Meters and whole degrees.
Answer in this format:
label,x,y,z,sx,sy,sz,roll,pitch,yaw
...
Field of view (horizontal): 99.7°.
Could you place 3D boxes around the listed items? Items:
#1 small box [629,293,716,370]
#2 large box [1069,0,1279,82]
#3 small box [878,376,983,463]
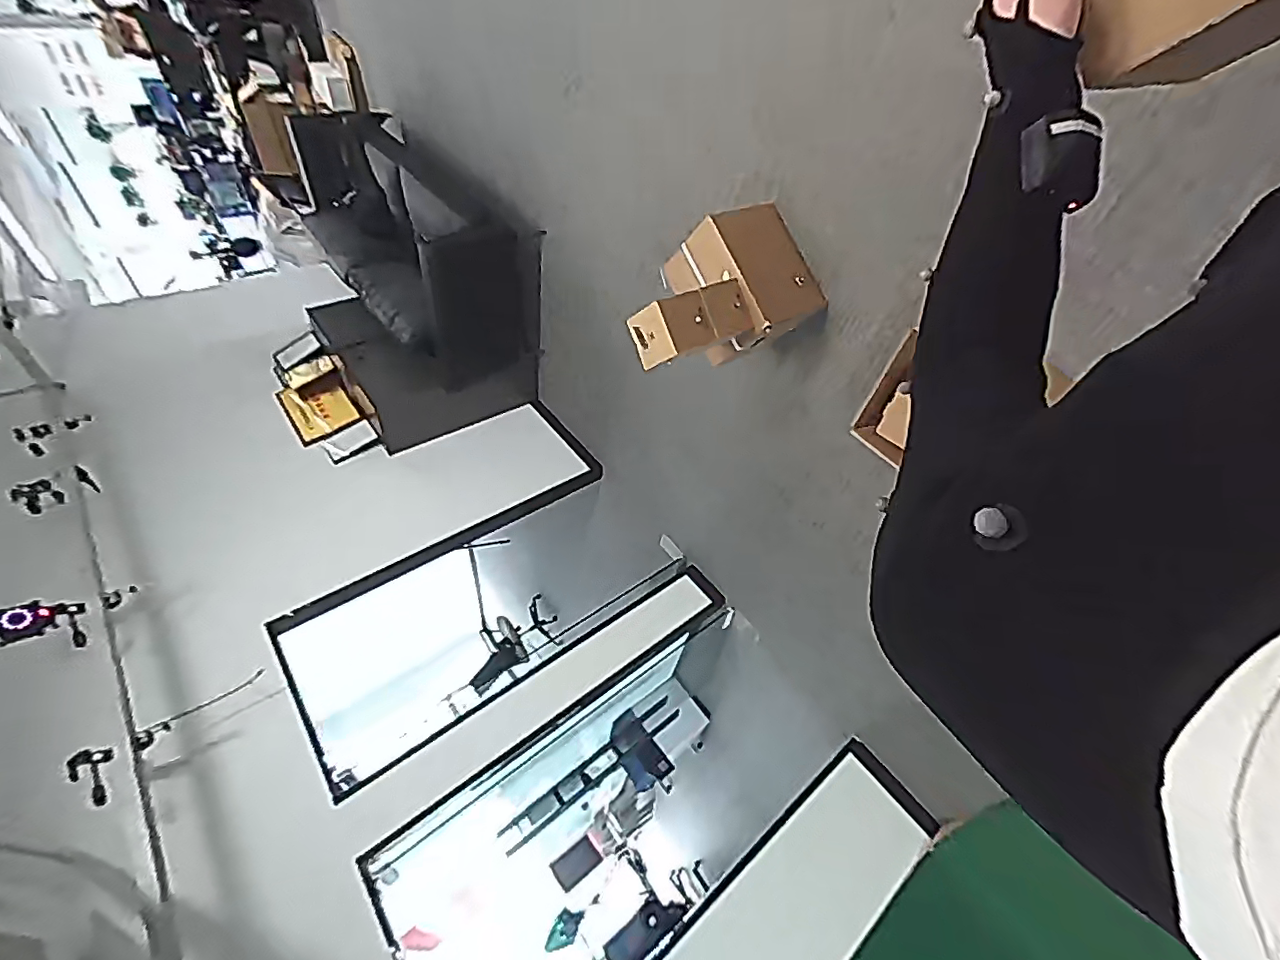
label,x,y,z,sx,sy,sz,roll,pitch,yaw
small box,0.101,-0.455,1.660,0.179,0.176,0.168,-10,105,58
large box,0.541,-0.547,0.346,0.408,0.320,0.320,-9,106,58
small box,0.840,-0.183,1.569,0.179,0.176,0.168,44,145,30
